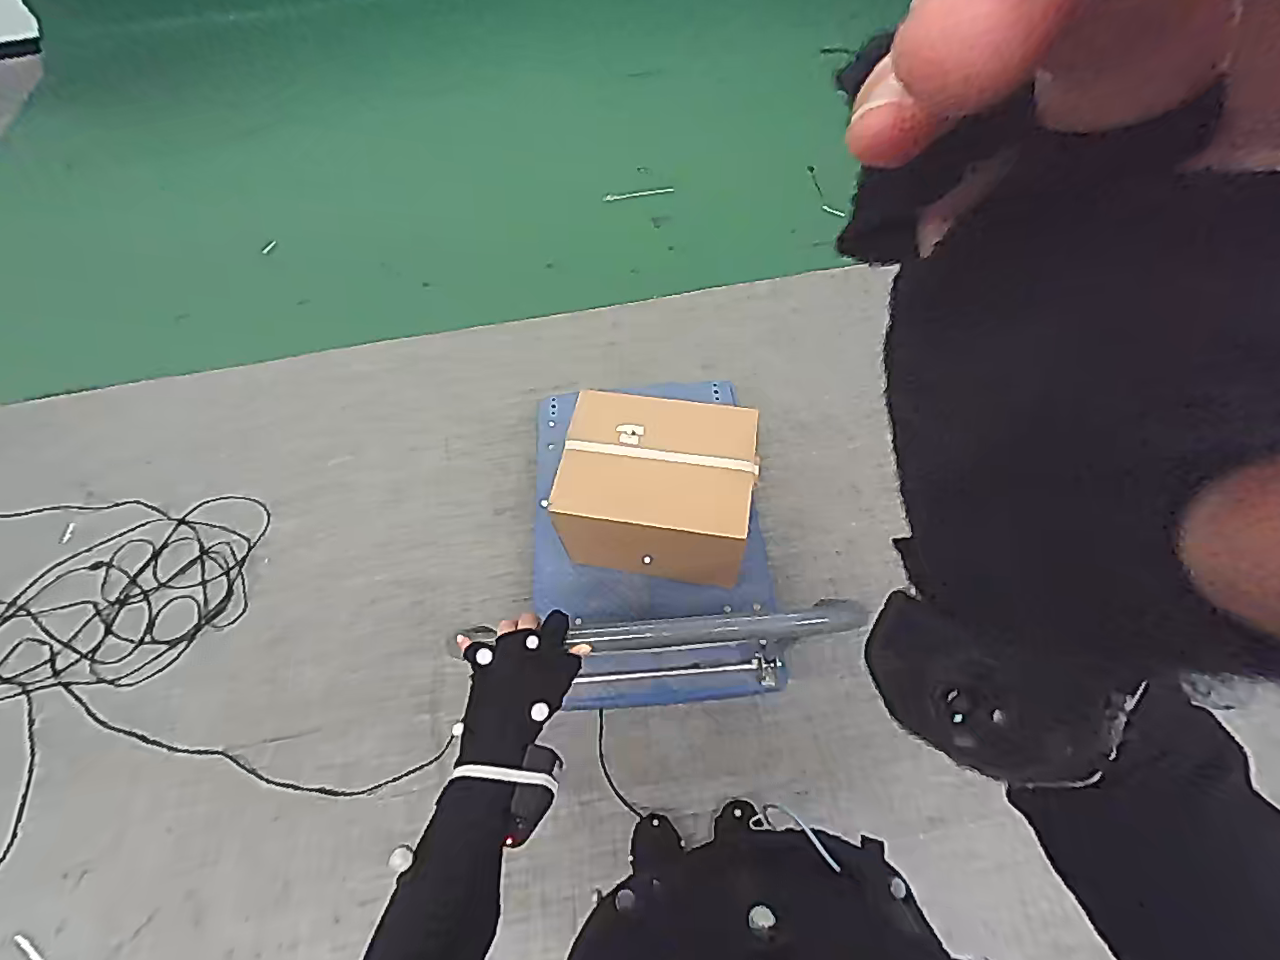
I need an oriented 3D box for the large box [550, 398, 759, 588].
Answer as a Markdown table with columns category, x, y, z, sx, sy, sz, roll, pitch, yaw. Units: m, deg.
| category | x | y | z | sx | sy | sz | roll | pitch | yaw |
| --- | --- | --- | --- | --- | --- | --- | --- | --- | --- |
| large box | 0.050 | 0.038 | 1.262 | 0.408 | 0.320 | 0.320 | 8 | 62 | 9 |
